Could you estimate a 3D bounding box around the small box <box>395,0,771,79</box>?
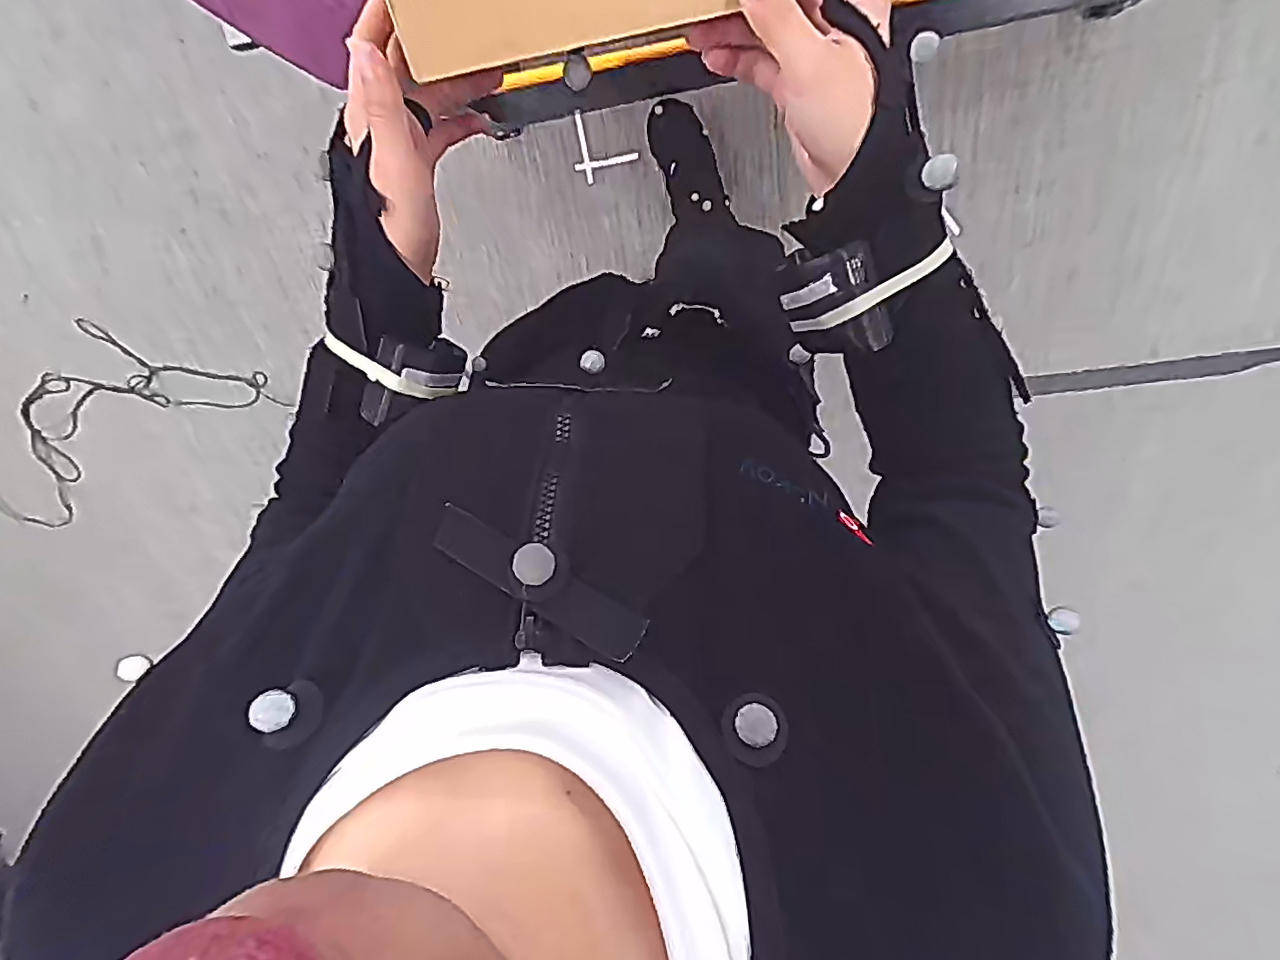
[{"bbox_3d":[-0.045,-0.318,0.267,0.179,0.176,0.168,-13,129,-1],"label":"small box"}]
